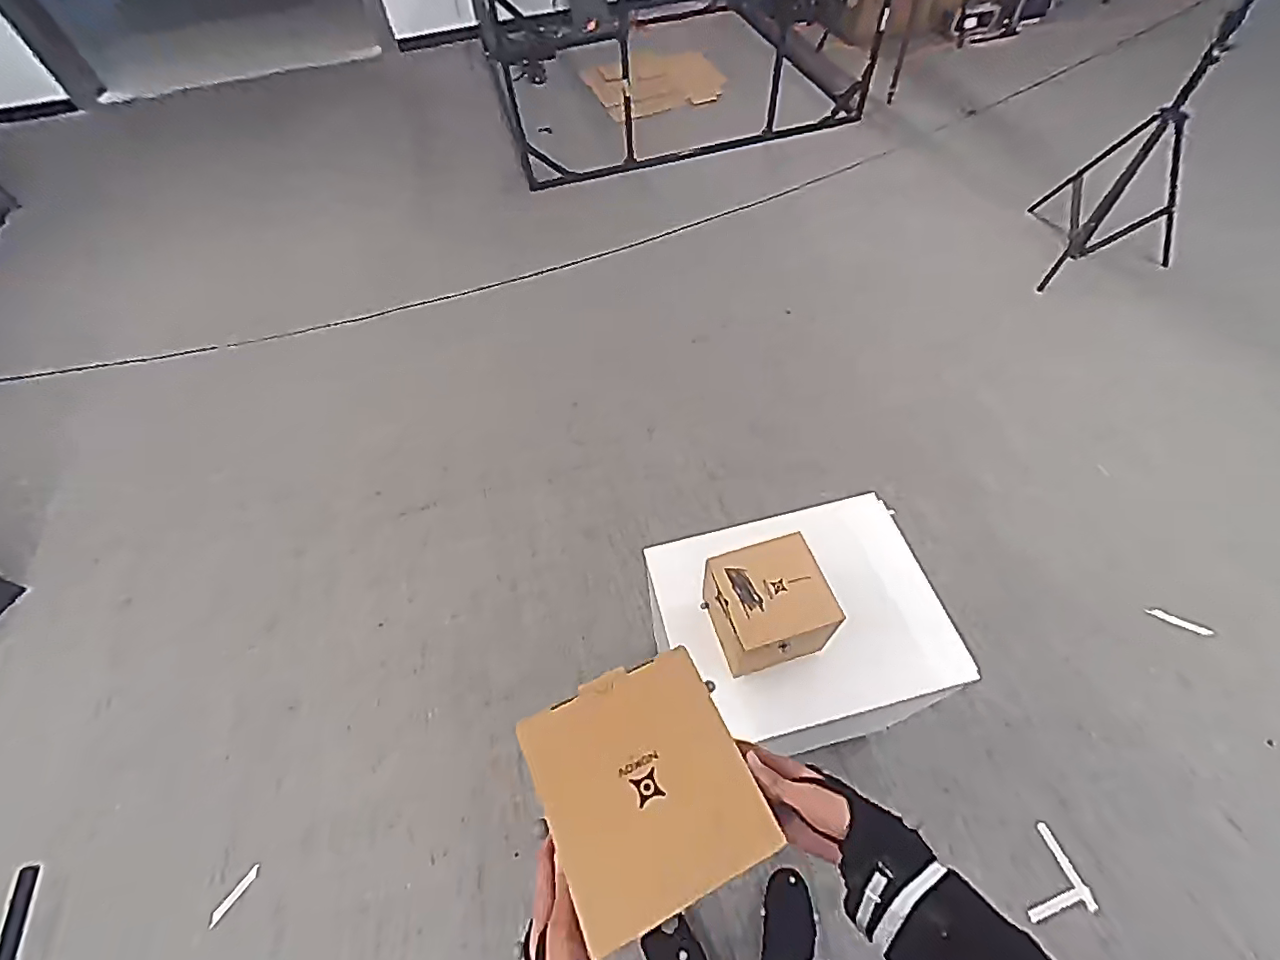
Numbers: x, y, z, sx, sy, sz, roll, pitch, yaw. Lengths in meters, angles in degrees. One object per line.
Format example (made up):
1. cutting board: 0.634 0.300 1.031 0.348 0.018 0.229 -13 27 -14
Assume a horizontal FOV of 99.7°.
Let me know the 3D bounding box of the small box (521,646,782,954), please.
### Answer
1. small box: 0.005 0.291 0.512 0.168 0.176 0.179 -21 57 -15

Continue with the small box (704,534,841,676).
1. small box: 0.218 0.224 0.948 0.179 0.176 0.168 -15 57 -8
